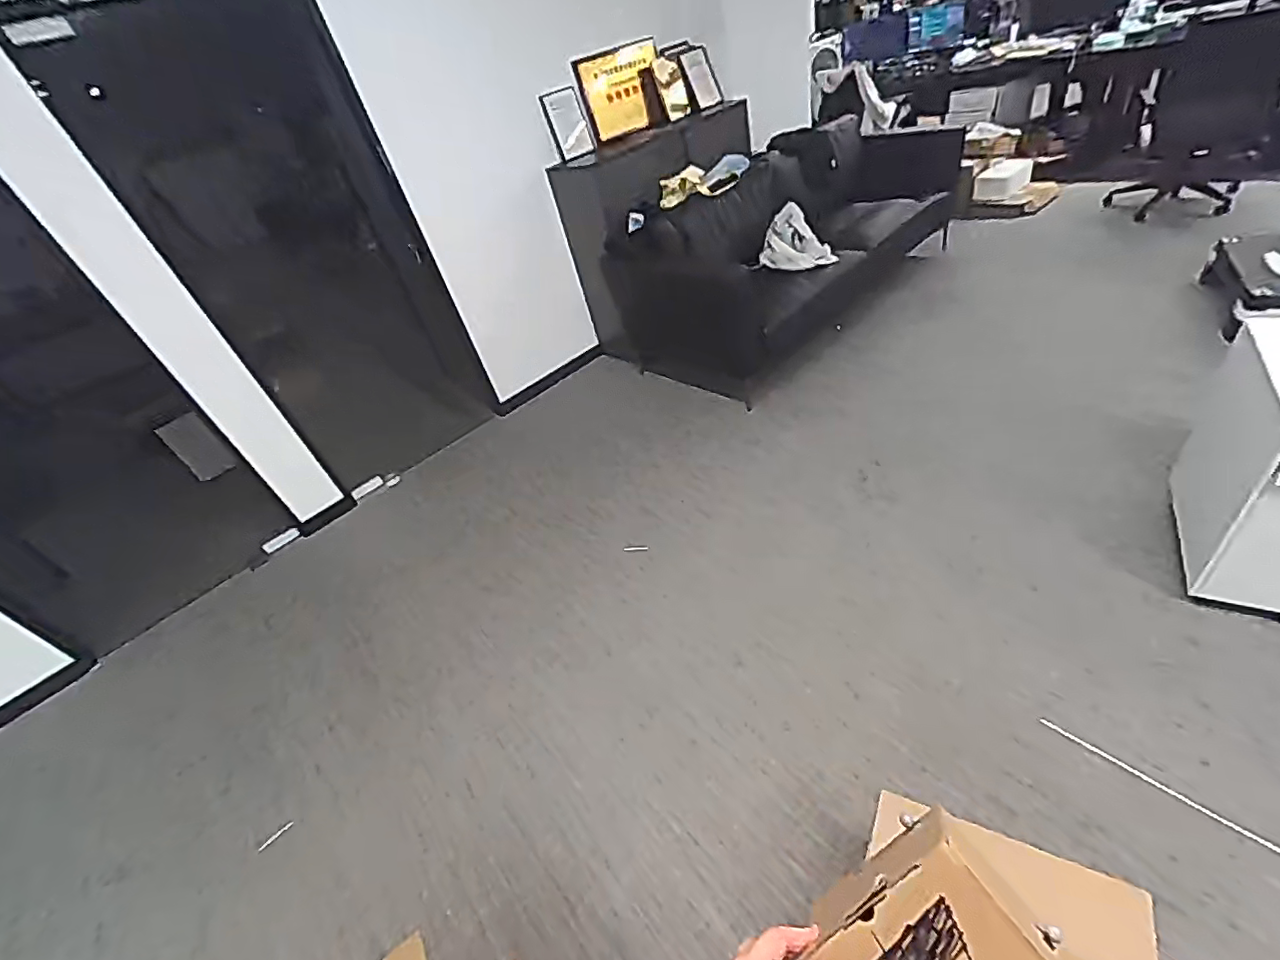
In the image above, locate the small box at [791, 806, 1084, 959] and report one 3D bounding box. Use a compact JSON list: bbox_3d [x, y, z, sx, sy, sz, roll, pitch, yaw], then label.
[{"bbox_3d":[0.258,0.404,0.451,0.168,0.176,0.179,-44,58,6],"label":"small box"}]
